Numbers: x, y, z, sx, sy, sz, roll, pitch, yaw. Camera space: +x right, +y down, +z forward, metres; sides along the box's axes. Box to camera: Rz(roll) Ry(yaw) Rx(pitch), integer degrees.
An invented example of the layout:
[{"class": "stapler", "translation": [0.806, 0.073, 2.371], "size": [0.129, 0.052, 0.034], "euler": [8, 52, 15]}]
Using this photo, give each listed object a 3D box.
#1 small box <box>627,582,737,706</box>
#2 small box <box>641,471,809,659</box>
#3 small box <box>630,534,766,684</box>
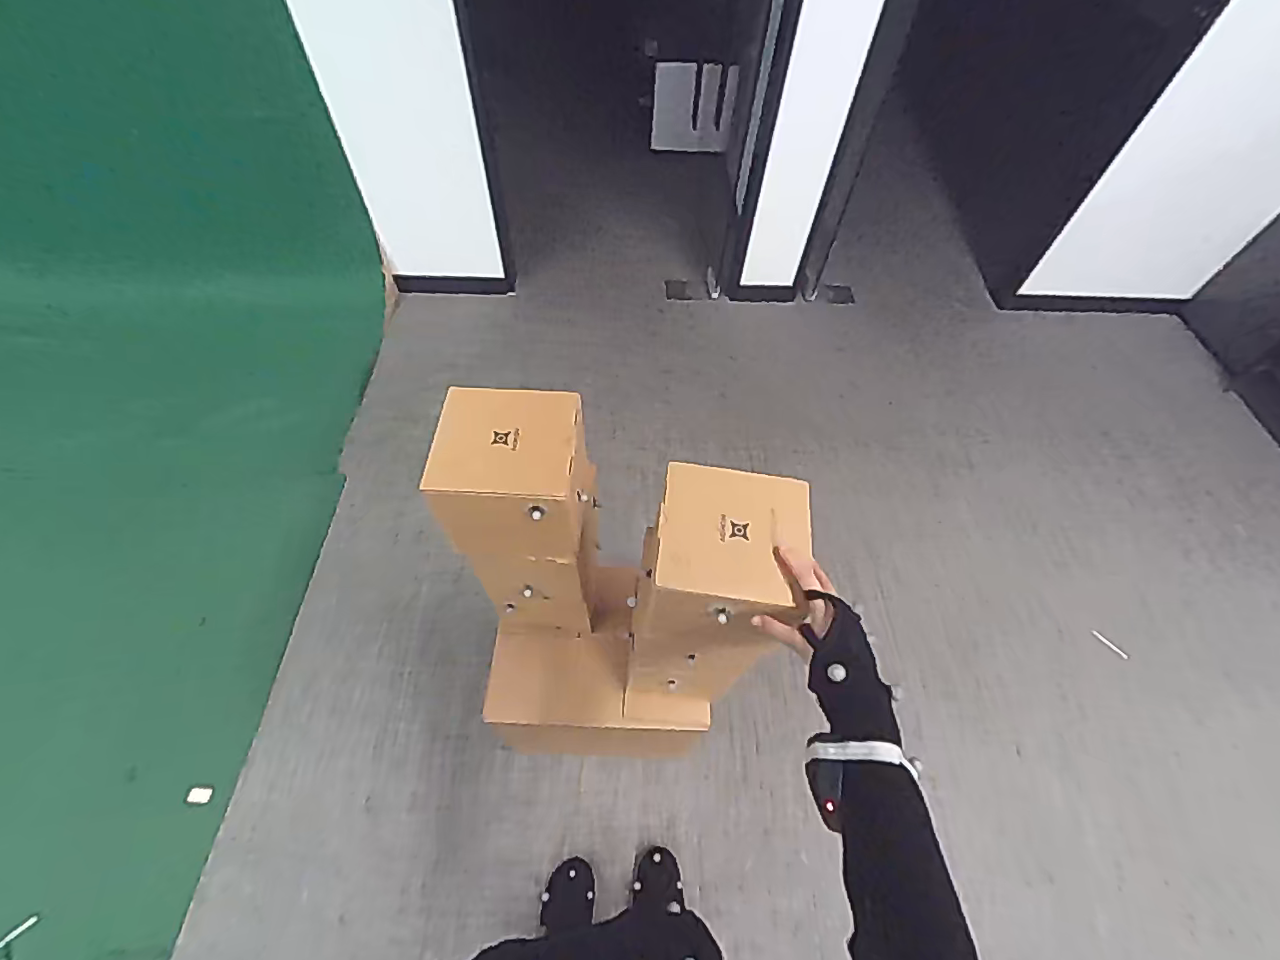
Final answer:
[{"class": "small box", "translation": [0.070, 0.293, 0.952], "size": [0.179, 0.176, 0.168], "euler": [5, 58, 1]}, {"class": "small box", "translation": [0.099, 0.113, 0.681], "size": [0.179, 0.176, 0.168], "euler": [9, 56, 1]}, {"class": "small box", "translation": [0.082, 0.201, 0.818], "size": [0.179, 0.176, 0.168], "euler": [5, 56, 1]}]
